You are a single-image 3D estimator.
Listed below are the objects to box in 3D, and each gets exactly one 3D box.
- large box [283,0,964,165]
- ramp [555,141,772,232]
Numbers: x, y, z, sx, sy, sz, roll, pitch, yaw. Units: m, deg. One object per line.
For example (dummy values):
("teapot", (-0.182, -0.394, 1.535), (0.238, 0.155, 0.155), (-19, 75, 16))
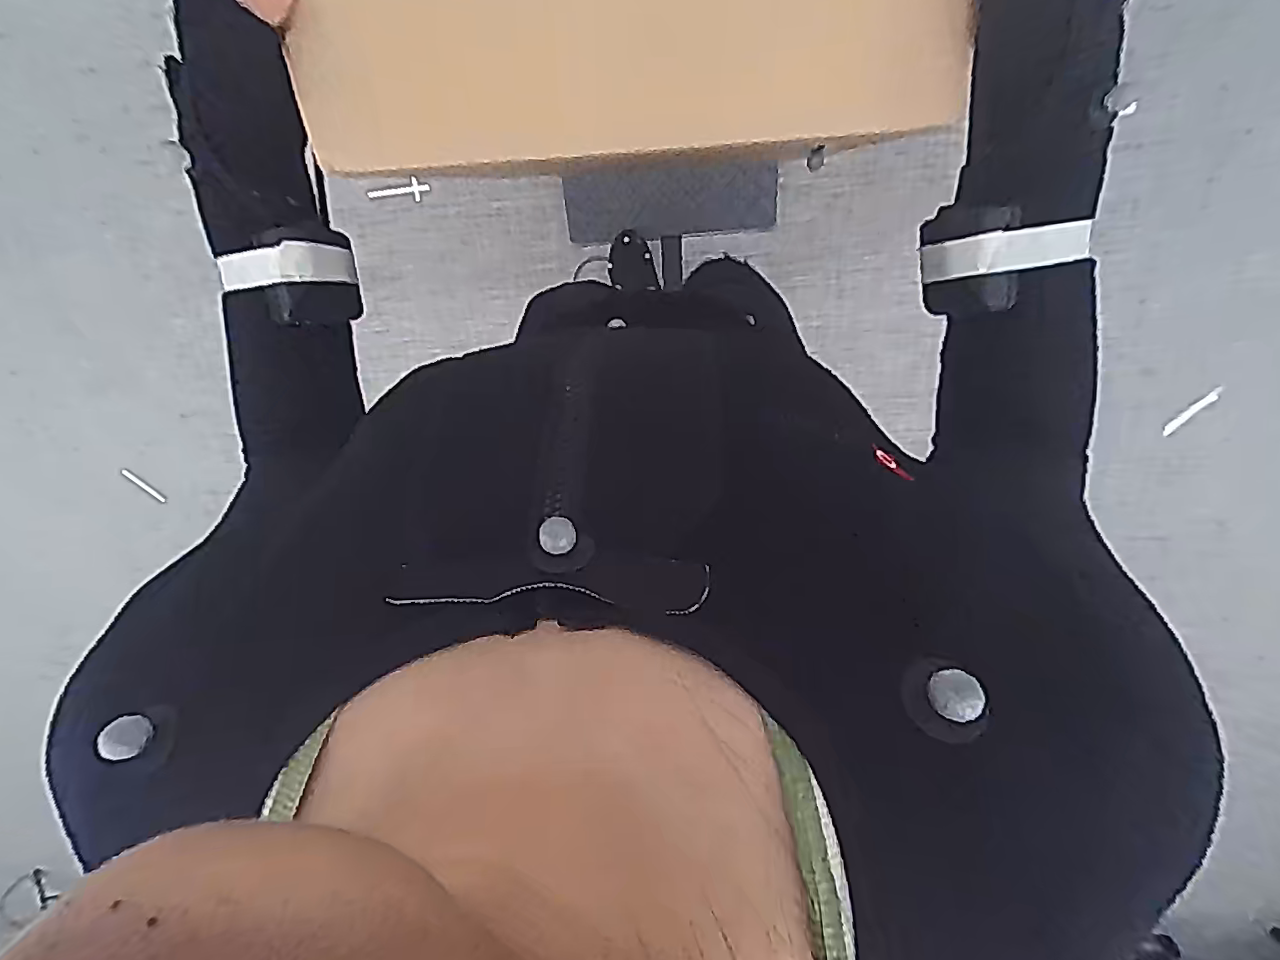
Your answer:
("large box", (-0.010, -0.426, 0.403), (0.408, 0.320, 0.320), (-1, 119, 4))
("ramp", (0.025, -1.028, 1.024), (0.509, 0.206, 0.991), (-5, 113, 3))
